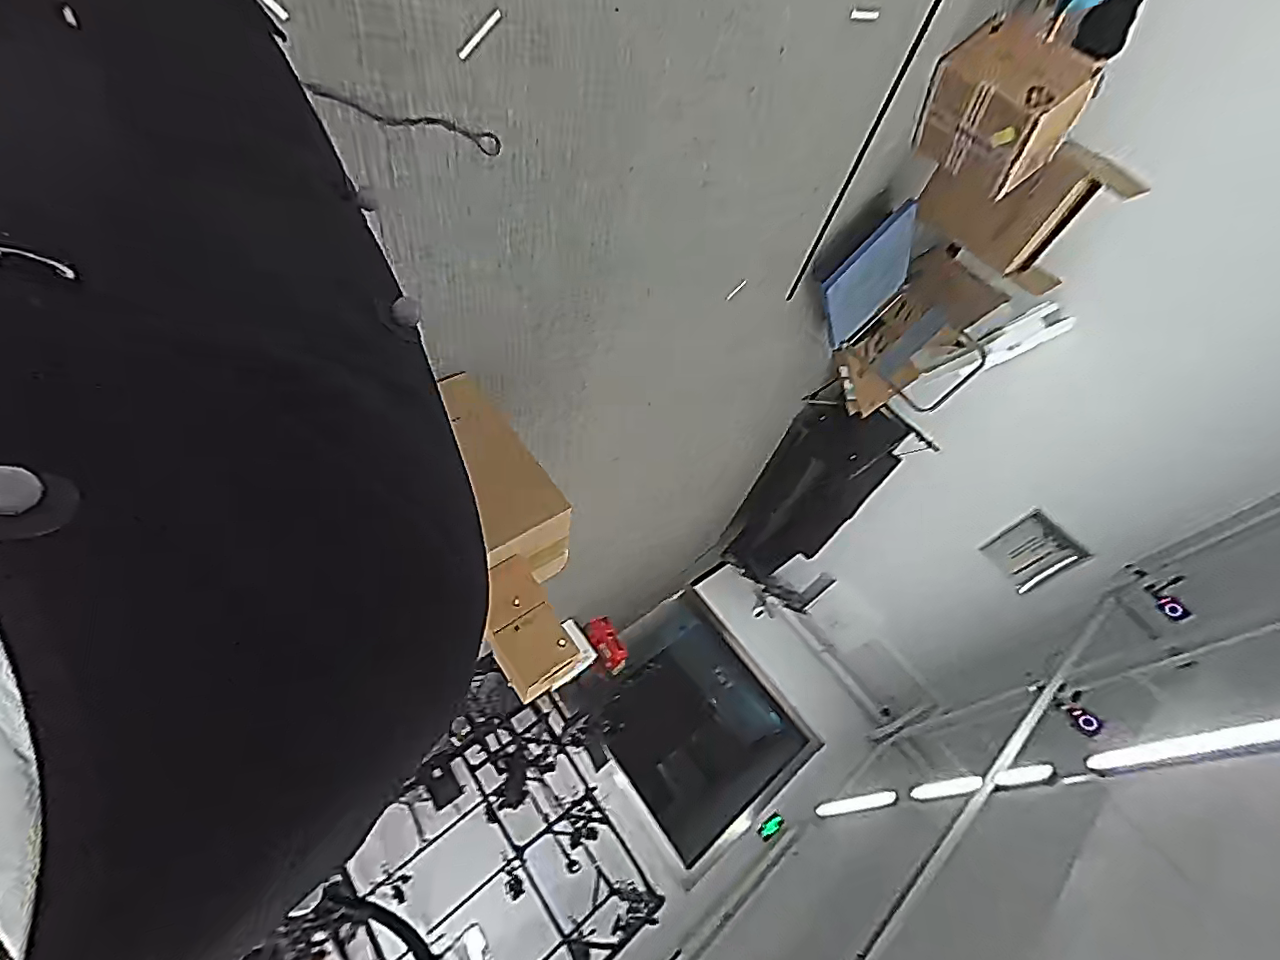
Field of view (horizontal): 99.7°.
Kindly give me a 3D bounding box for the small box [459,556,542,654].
[{"bbox_3d":[-0.397,0.350,1.526,0.179,0.176,0.168,-30,156,-29],"label":"small box"}]
